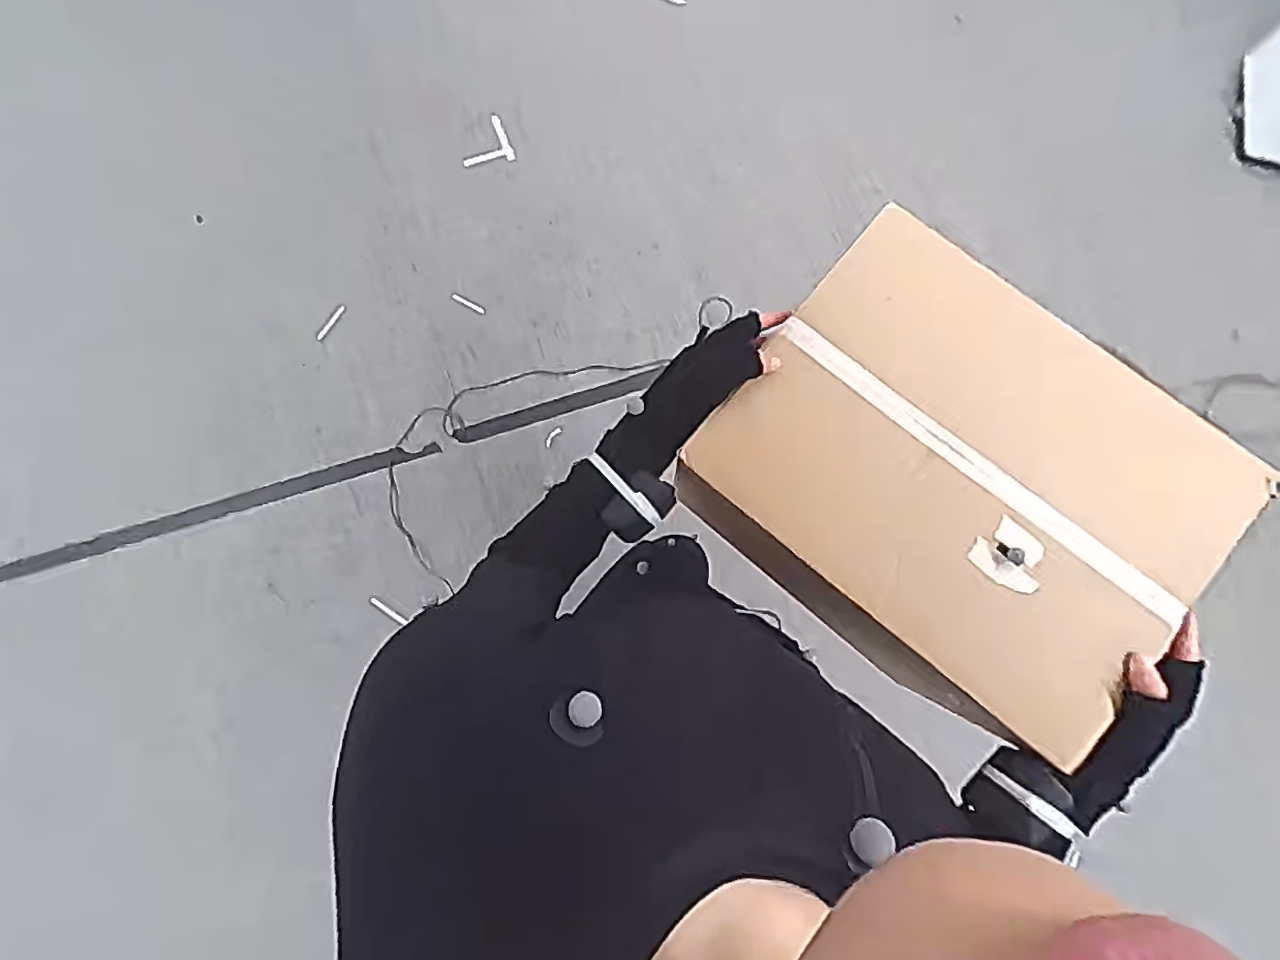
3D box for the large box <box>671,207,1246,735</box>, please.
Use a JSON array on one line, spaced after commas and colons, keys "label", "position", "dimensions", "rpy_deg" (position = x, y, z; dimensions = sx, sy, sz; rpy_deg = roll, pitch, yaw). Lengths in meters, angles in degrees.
[{"label": "large box", "position": [0.286, -0.006, 0.627], "dimensions": [0.408, 0.320, 0.320], "rpy_deg": [40, 87, 6]}]
